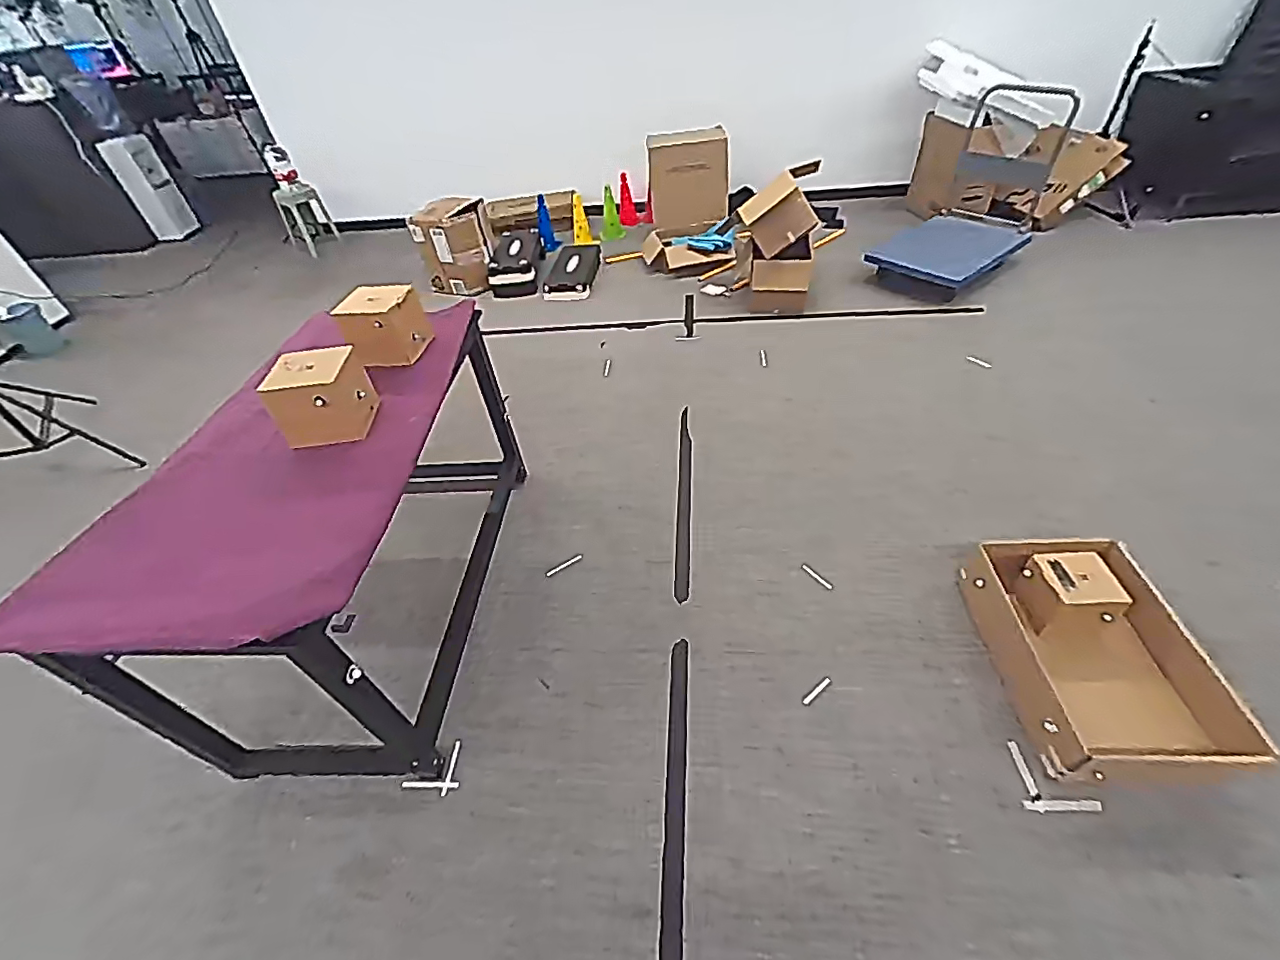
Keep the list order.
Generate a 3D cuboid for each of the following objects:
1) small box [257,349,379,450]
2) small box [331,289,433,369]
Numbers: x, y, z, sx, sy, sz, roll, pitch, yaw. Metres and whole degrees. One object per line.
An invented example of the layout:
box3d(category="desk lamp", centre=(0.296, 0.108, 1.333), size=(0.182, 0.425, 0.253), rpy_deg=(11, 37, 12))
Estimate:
box3d(category="small box", centre=(-0.765, -0.193, 1.311), size=(0.179, 0.176, 0.168), rpy_deg=(-8, 43, -1))
box3d(category="small box", centre=(-0.733, -0.433, 1.558), size=(0.179, 0.176, 0.168), rpy_deg=(1, 44, 9))
